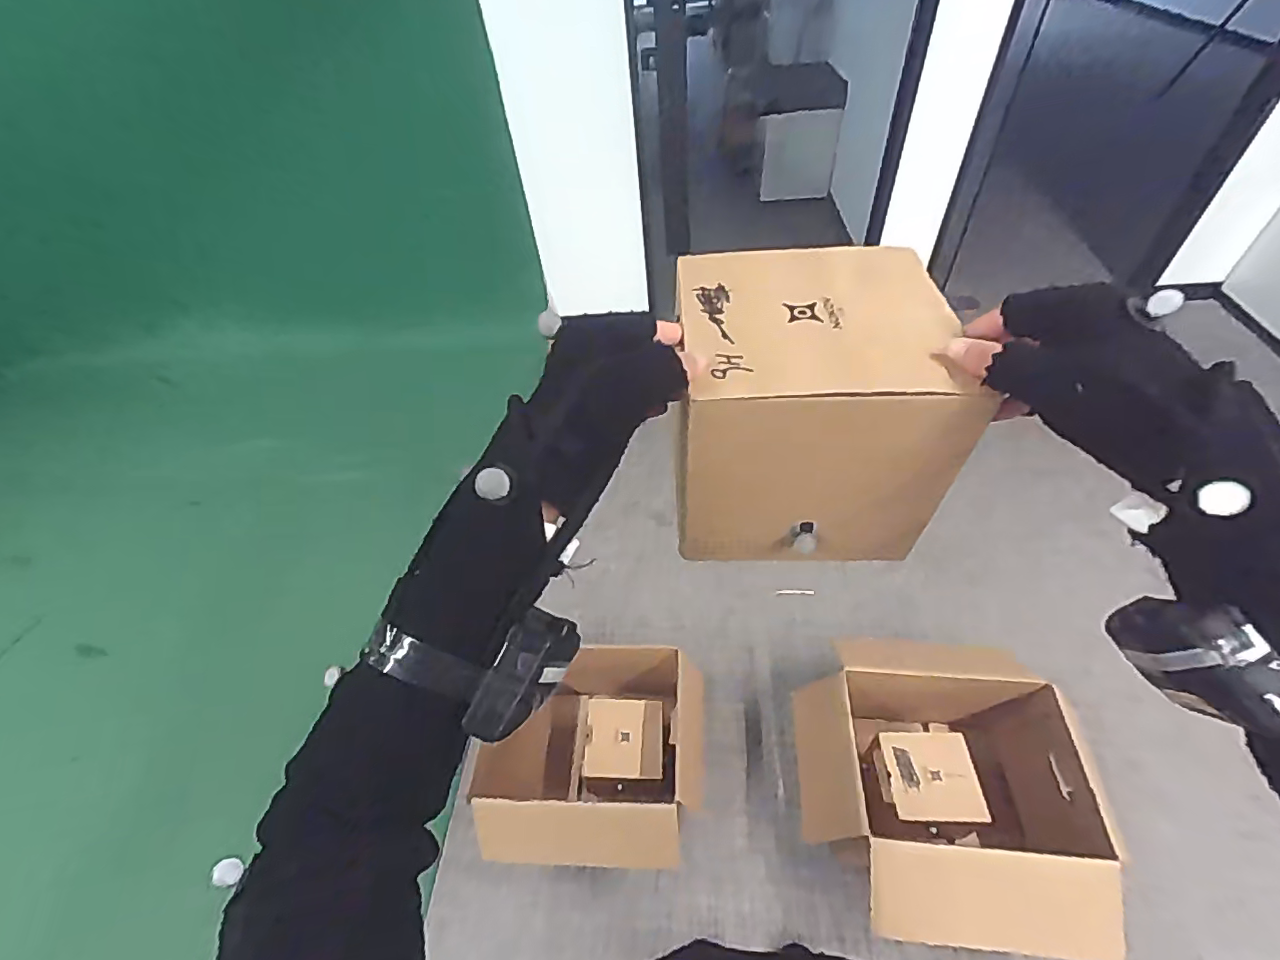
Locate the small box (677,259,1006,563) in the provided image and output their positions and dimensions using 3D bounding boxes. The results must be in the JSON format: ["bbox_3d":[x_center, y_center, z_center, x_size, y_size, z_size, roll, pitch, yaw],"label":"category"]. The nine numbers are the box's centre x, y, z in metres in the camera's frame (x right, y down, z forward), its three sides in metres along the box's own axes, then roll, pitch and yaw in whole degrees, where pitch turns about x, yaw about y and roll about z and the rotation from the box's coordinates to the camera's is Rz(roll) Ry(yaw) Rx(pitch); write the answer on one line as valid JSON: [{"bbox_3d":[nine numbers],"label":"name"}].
[{"bbox_3d":[0.121,-0.048,0.414,0.179,0.176,0.168,-2,49,1],"label":"small box"}]
